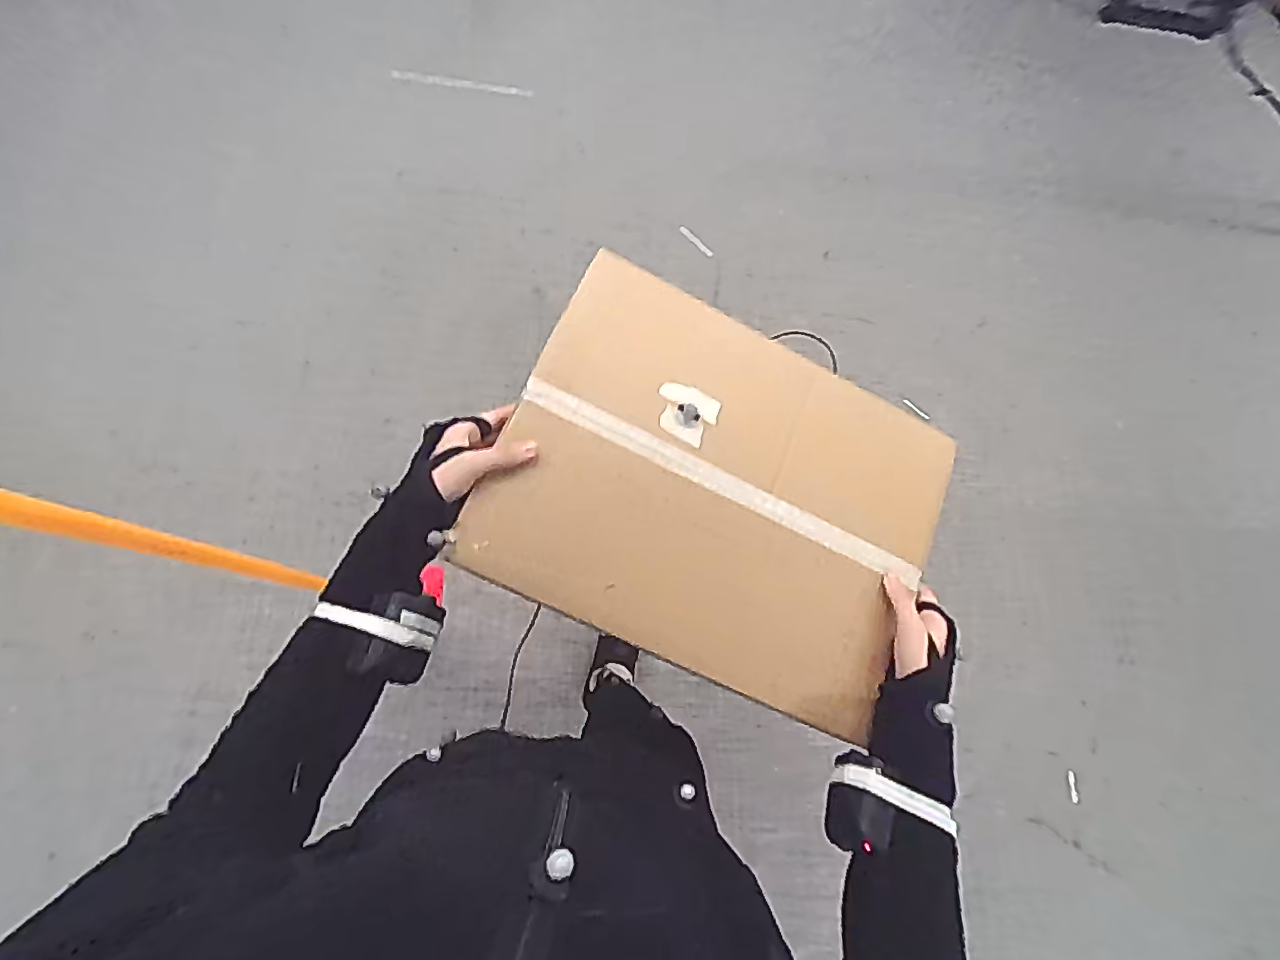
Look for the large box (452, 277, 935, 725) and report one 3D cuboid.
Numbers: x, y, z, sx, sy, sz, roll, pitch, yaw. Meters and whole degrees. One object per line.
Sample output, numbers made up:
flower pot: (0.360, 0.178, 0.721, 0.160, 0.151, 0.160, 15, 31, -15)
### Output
large box: (0.050, 0.044, 0.646, 0.408, 0.320, 0.320, 23, 73, -6)
